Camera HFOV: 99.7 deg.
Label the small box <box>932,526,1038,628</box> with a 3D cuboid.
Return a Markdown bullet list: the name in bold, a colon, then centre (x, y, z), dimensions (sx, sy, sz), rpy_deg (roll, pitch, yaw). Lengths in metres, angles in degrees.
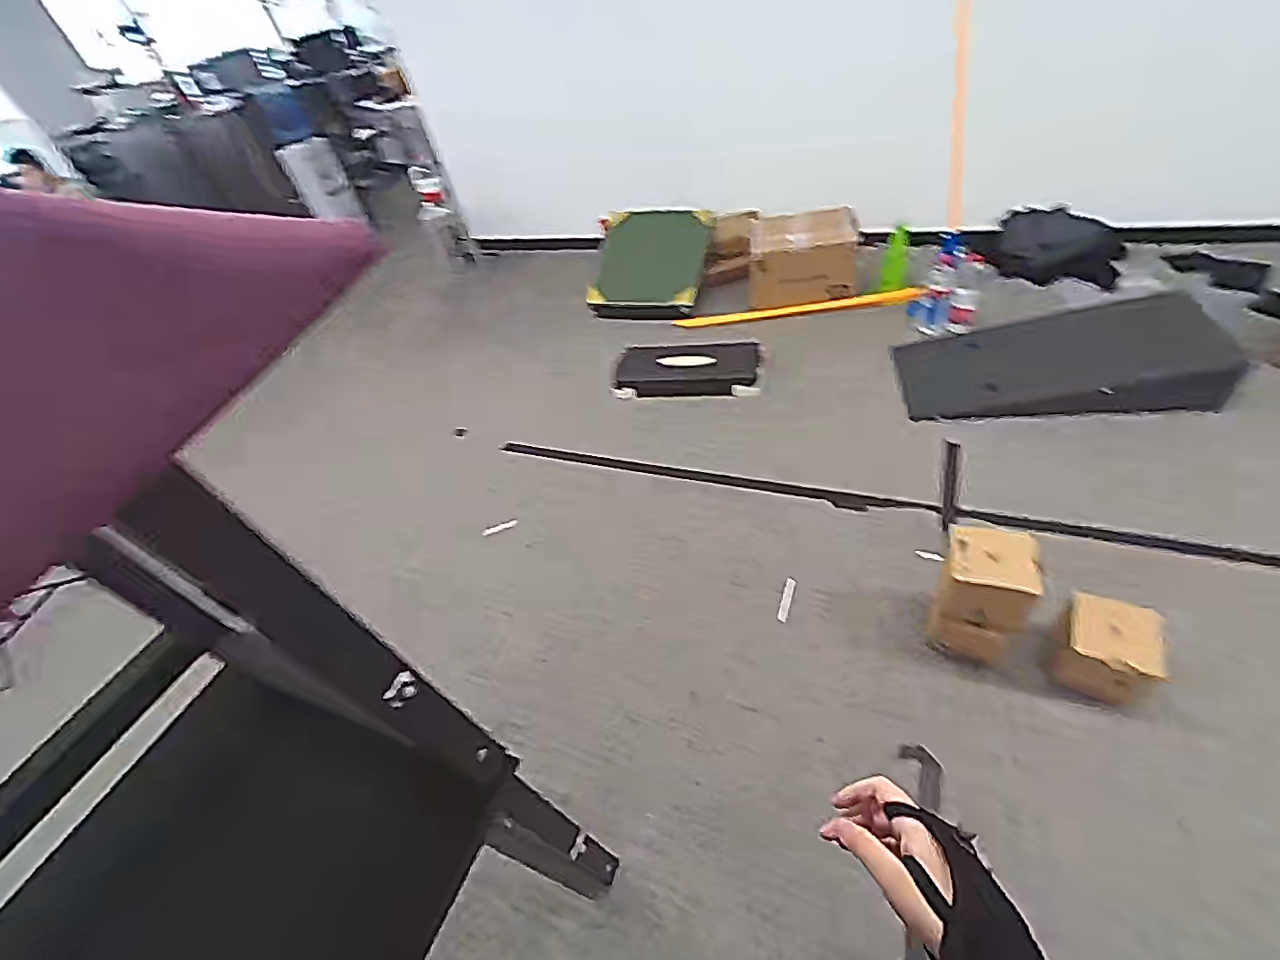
- **small box**: centre (0.831, 0.239, 1.318), dimensions (0.179, 0.176, 0.168), rpy_deg (9, 49, 20)

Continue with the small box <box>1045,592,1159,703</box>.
- **small box**: centre (1.116, 0.410, 1.318), dimensions (0.168, 0.176, 0.179), rpy_deg (15, 51, 25)

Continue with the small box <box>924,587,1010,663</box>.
- **small box**: centre (0.863, 0.355, 1.431), dimensions (0.168, 0.176, 0.179), rpy_deg (12, 50, 23)
